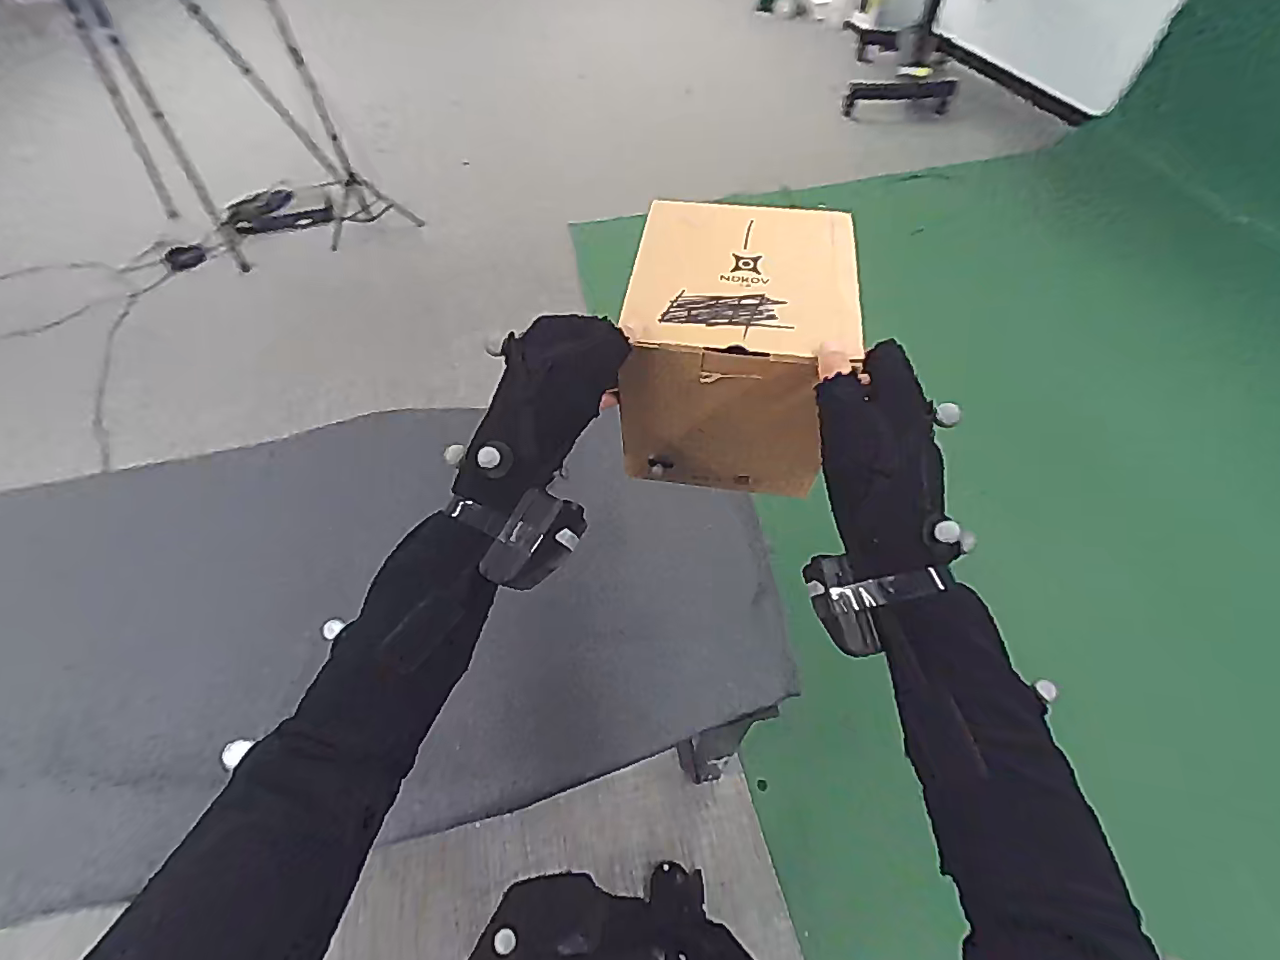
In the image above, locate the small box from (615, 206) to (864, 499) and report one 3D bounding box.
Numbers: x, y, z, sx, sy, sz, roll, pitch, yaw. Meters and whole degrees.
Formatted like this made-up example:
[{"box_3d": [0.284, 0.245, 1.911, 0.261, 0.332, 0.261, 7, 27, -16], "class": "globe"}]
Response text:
[{"box_3d": [0.081, -0.103, 0.462, 0.168, 0.176, 0.179, 8, 56, 7], "class": "small box"}]
